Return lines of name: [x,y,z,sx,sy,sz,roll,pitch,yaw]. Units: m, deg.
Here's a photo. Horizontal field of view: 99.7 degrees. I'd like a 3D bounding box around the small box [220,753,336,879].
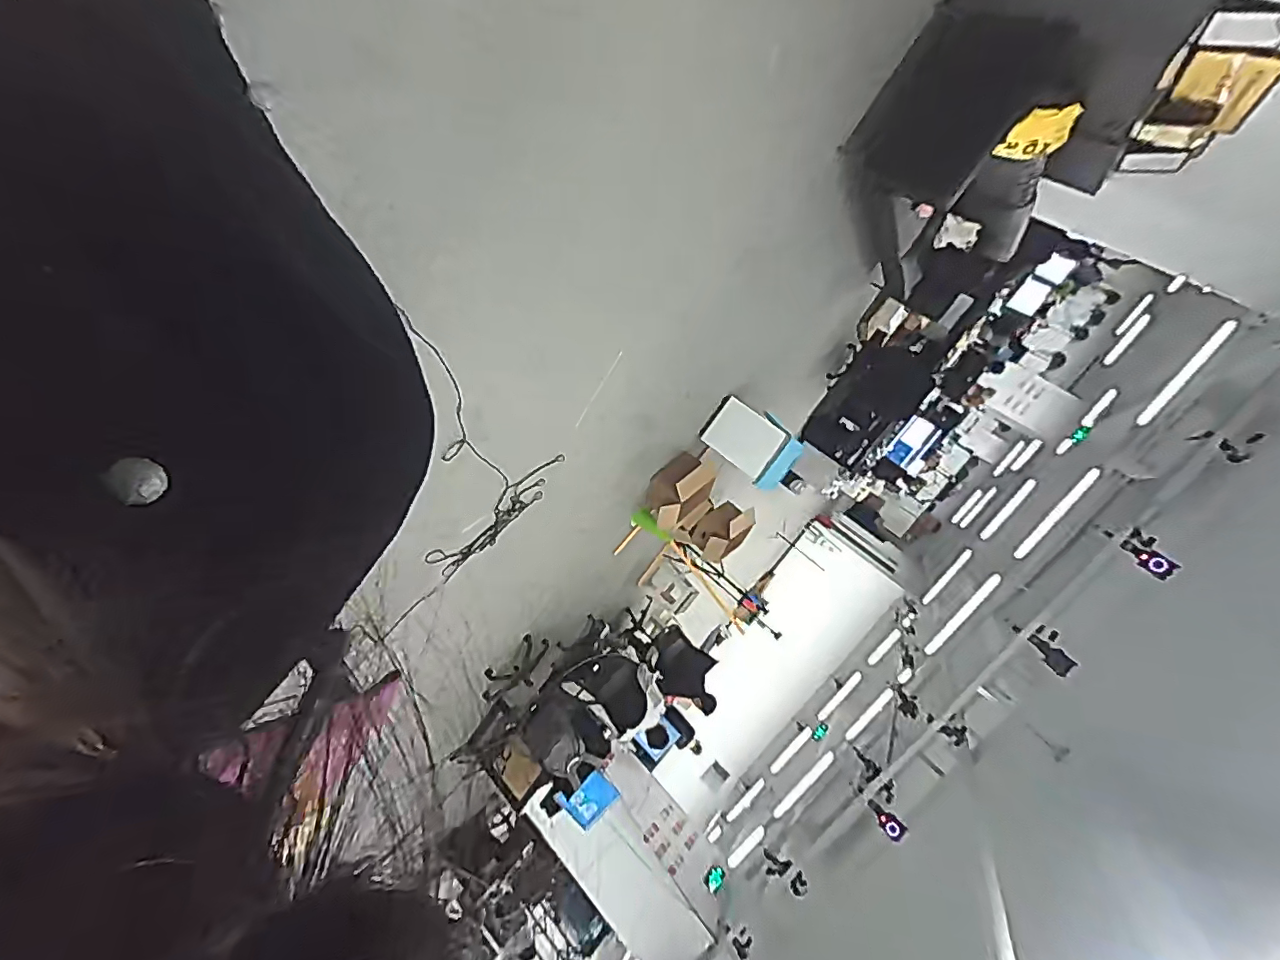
small box: [-0.915,0.835,1.361,0.179,0.176,0.168,-55,157,13]
